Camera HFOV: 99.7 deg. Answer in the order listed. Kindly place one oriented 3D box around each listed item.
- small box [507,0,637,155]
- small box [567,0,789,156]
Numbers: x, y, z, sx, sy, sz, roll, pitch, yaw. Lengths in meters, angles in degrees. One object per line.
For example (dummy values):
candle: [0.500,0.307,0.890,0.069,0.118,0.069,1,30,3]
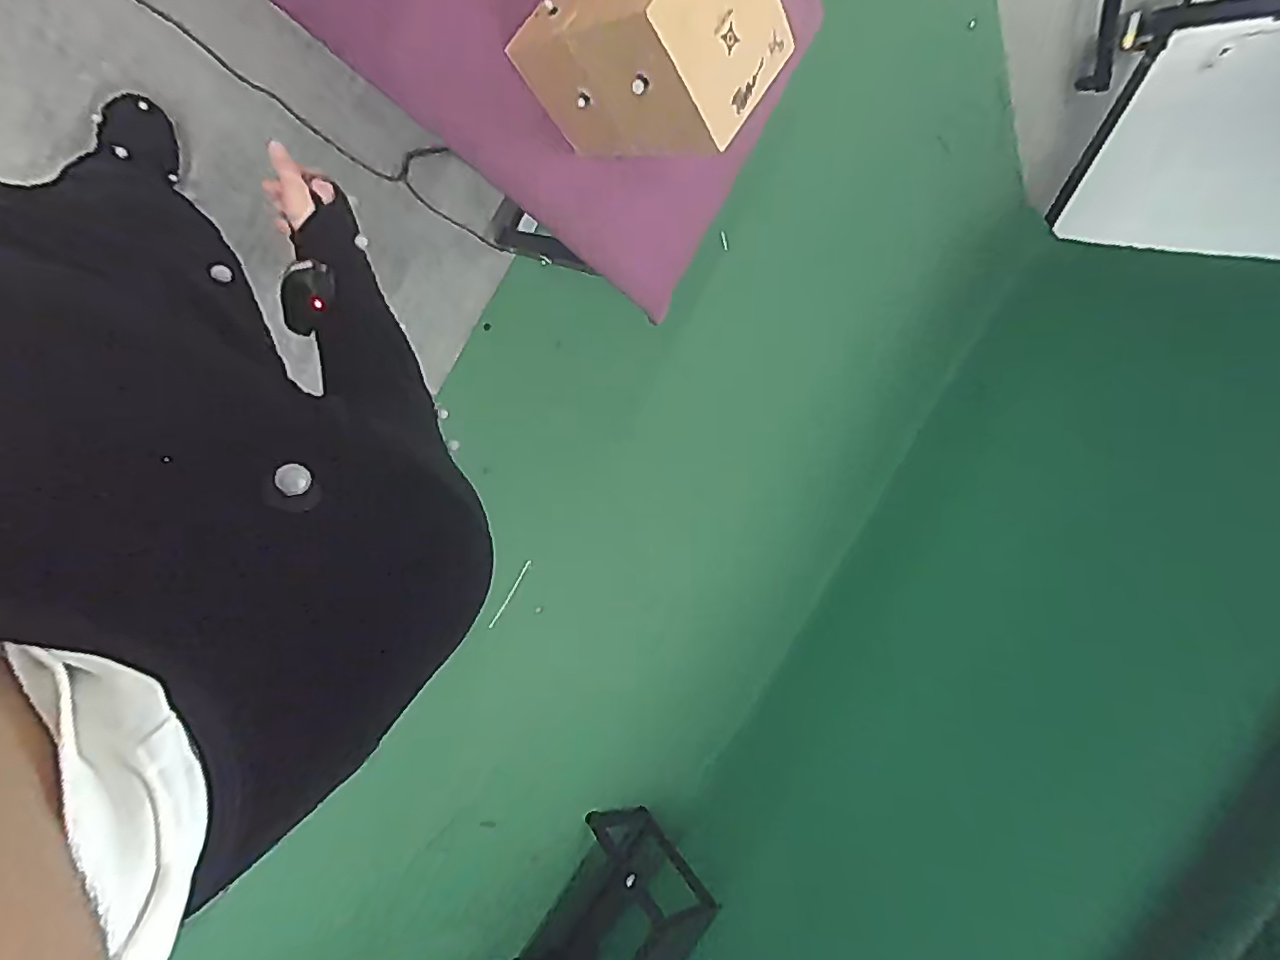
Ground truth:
small box: [-0.056,-0.597,0.774,0.168,0.176,0.179,-52,137,-4]
small box: [0.043,-0.529,0.663,0.168,0.176,0.179,-54,136,-1]
